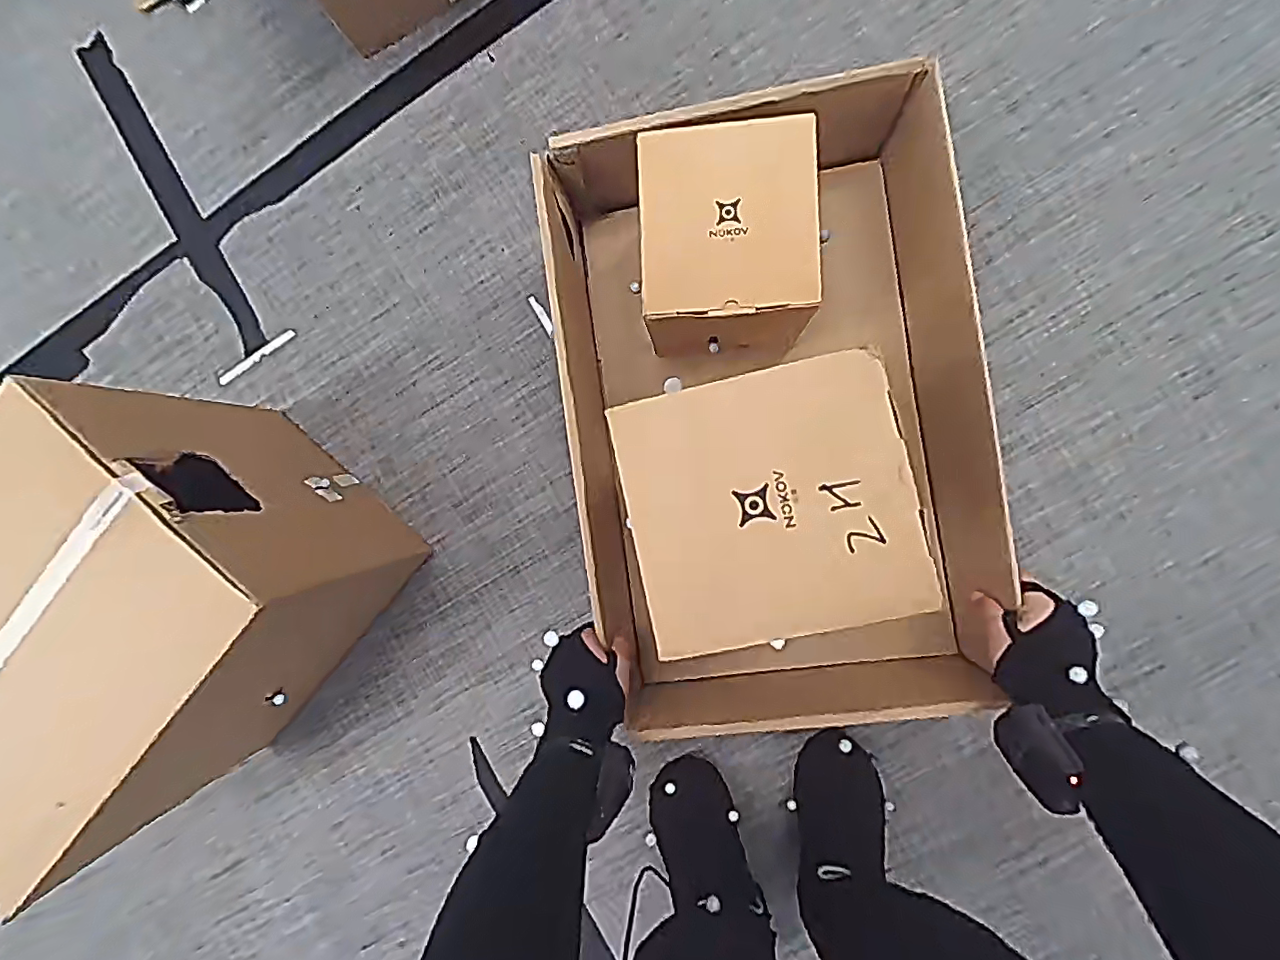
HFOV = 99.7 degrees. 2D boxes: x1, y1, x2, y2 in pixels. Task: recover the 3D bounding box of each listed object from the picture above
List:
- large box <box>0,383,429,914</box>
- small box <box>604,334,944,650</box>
[{"bbox_3d":[-0.543,0.151,0.640,0.320,0.320,0.408,41,96,4],"label":"large box"},{"bbox_3d":[0.087,0.013,0.405,0.179,0.176,0.168,-13,86,7],"label":"small box"}]
